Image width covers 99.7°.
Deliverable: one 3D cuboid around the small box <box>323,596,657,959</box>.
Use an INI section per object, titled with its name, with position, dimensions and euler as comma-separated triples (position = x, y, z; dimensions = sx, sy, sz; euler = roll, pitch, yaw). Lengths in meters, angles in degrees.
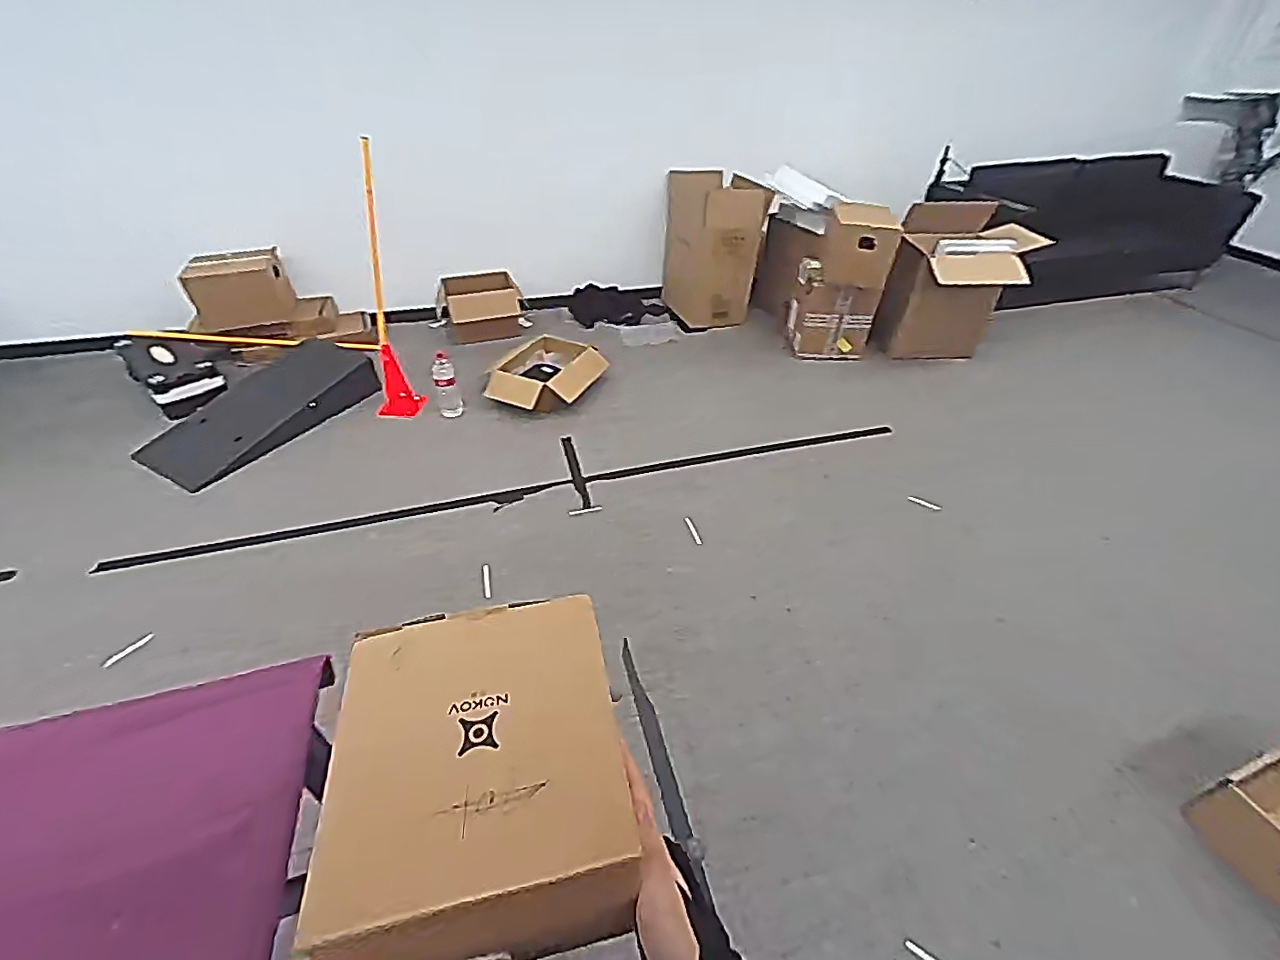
[small box]
position = -0.091, 0.212, 0.381
dimensions = 0.168, 0.176, 0.179
euler = -8, 42, -11
